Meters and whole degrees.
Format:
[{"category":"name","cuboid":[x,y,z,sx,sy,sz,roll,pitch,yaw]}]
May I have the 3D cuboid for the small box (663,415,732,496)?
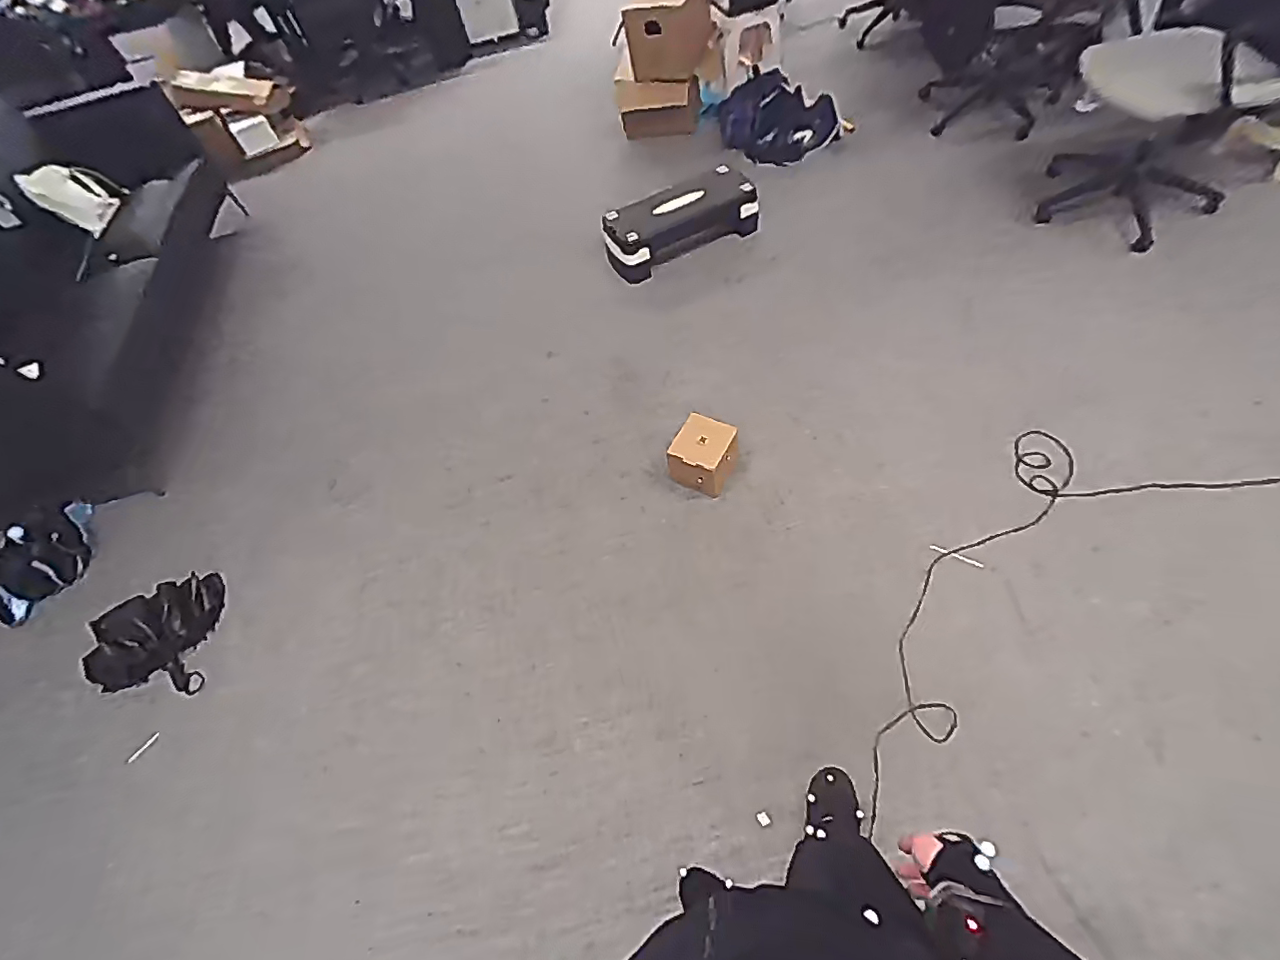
[{"category":"small box","cuboid":[0.192,-0.075,1.758,0.168,0.176,0.179,22,62,21]}]
